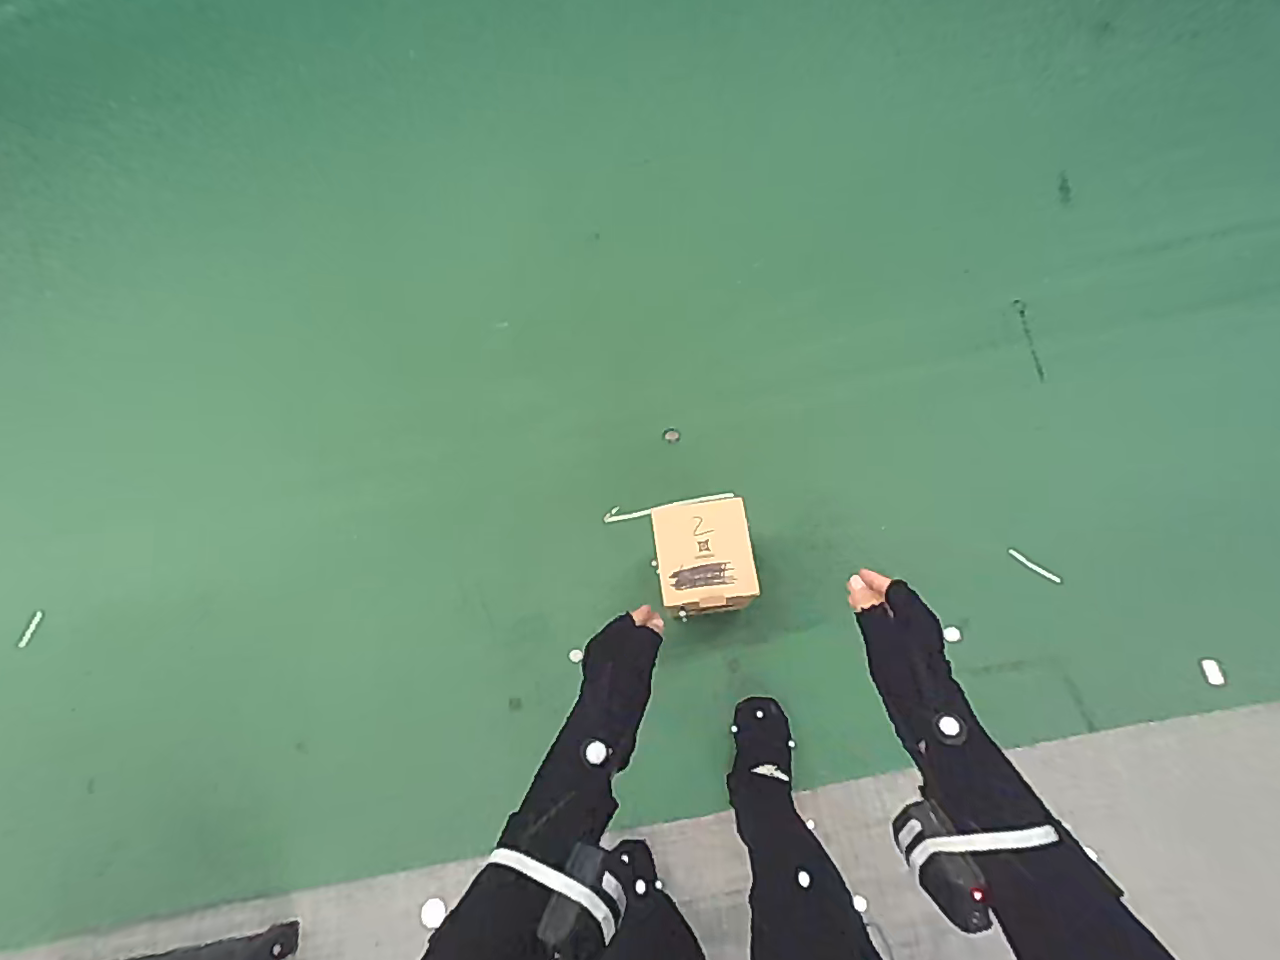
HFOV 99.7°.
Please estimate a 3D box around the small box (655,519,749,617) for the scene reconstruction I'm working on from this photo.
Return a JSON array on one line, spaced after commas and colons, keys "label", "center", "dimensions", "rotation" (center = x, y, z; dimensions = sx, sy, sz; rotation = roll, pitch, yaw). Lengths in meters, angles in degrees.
[{"label": "small box", "center": [0.130, 0.195, 1.168], "dimensions": [0.168, 0.176, 0.179], "rotation": [-11, 75, 1]}]
